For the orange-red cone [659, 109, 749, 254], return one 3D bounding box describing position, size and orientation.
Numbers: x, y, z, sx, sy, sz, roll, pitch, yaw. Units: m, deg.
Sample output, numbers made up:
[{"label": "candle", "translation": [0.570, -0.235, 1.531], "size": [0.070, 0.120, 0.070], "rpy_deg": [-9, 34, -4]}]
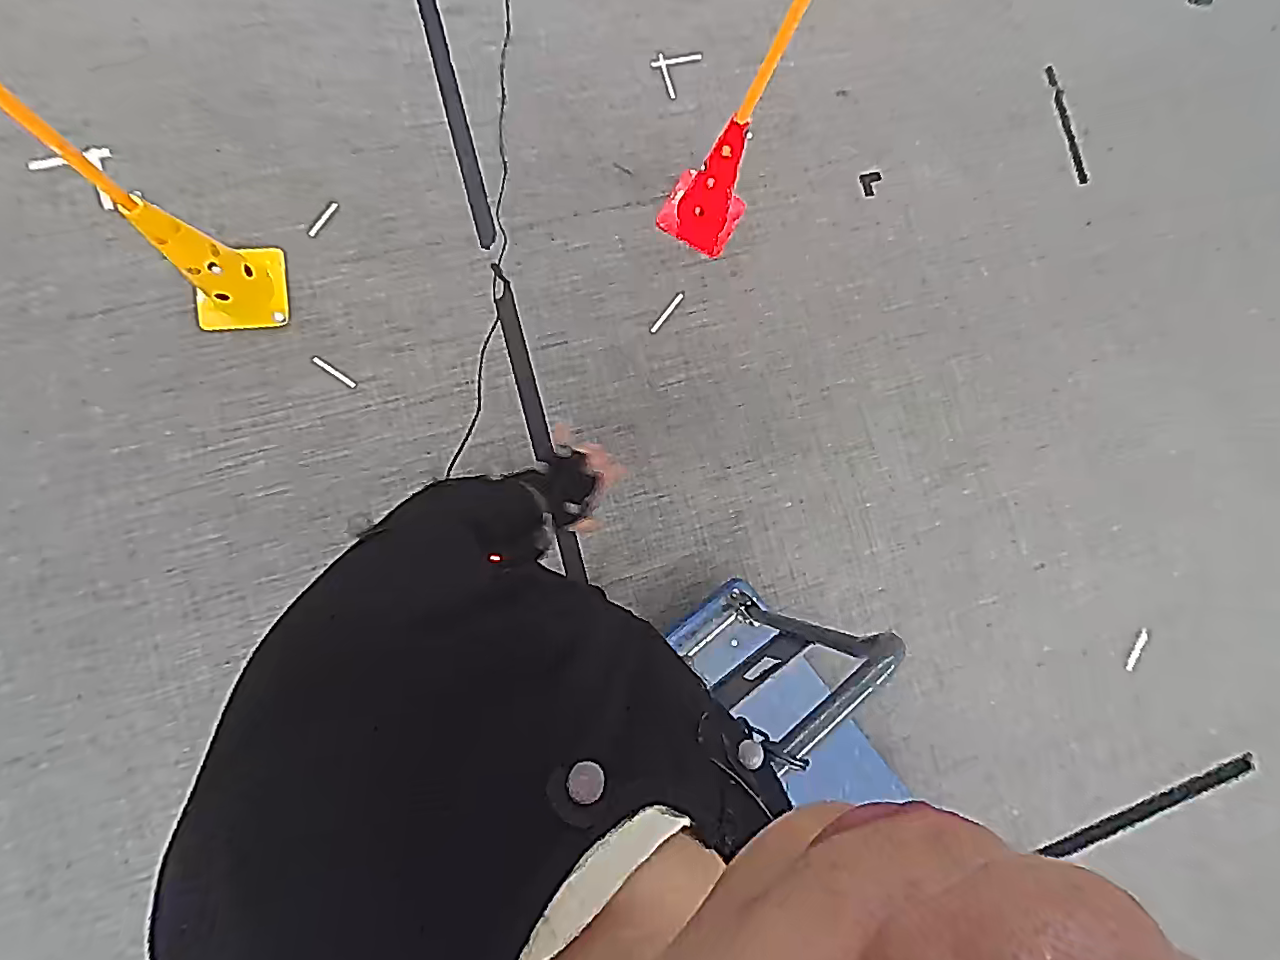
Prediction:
[{"label": "orange-red cone", "translation": [0.196, -0.760, 1.330], "size": [0.198, 0.360, 0.199], "rpy_deg": [30, 82, -3]}]
